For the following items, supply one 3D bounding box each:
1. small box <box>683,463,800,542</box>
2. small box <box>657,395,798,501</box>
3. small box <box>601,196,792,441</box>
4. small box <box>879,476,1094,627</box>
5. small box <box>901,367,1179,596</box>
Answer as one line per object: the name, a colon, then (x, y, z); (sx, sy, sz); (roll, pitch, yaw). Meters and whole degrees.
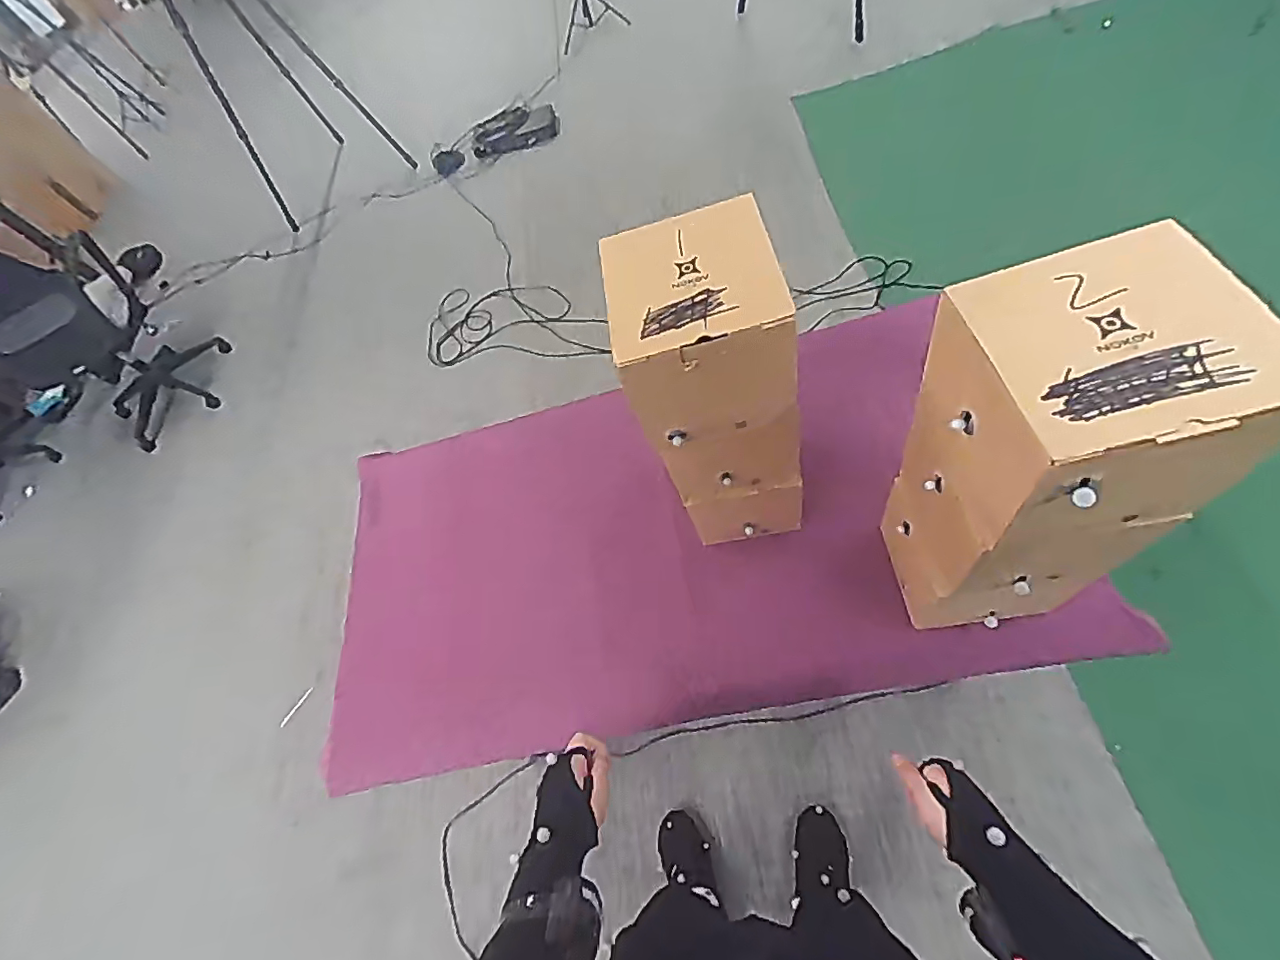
small box: (0.156, -0.019, 0.867); (0.168, 0.176, 0.179); (-11, 61, 11)
small box: (0.109, -0.095, 0.731); (0.168, 0.176, 0.179); (-13, 61, 9)
small box: (0.065, -0.159, 0.586); (0.168, 0.176, 0.179); (-13, 60, 9)
small box: (0.442, 0.090, 0.727); (0.179, 0.176, 0.168); (-11, 60, 11)
small box: (0.402, 0.011, 0.589); (0.168, 0.176, 0.179); (-12, 60, 12)
